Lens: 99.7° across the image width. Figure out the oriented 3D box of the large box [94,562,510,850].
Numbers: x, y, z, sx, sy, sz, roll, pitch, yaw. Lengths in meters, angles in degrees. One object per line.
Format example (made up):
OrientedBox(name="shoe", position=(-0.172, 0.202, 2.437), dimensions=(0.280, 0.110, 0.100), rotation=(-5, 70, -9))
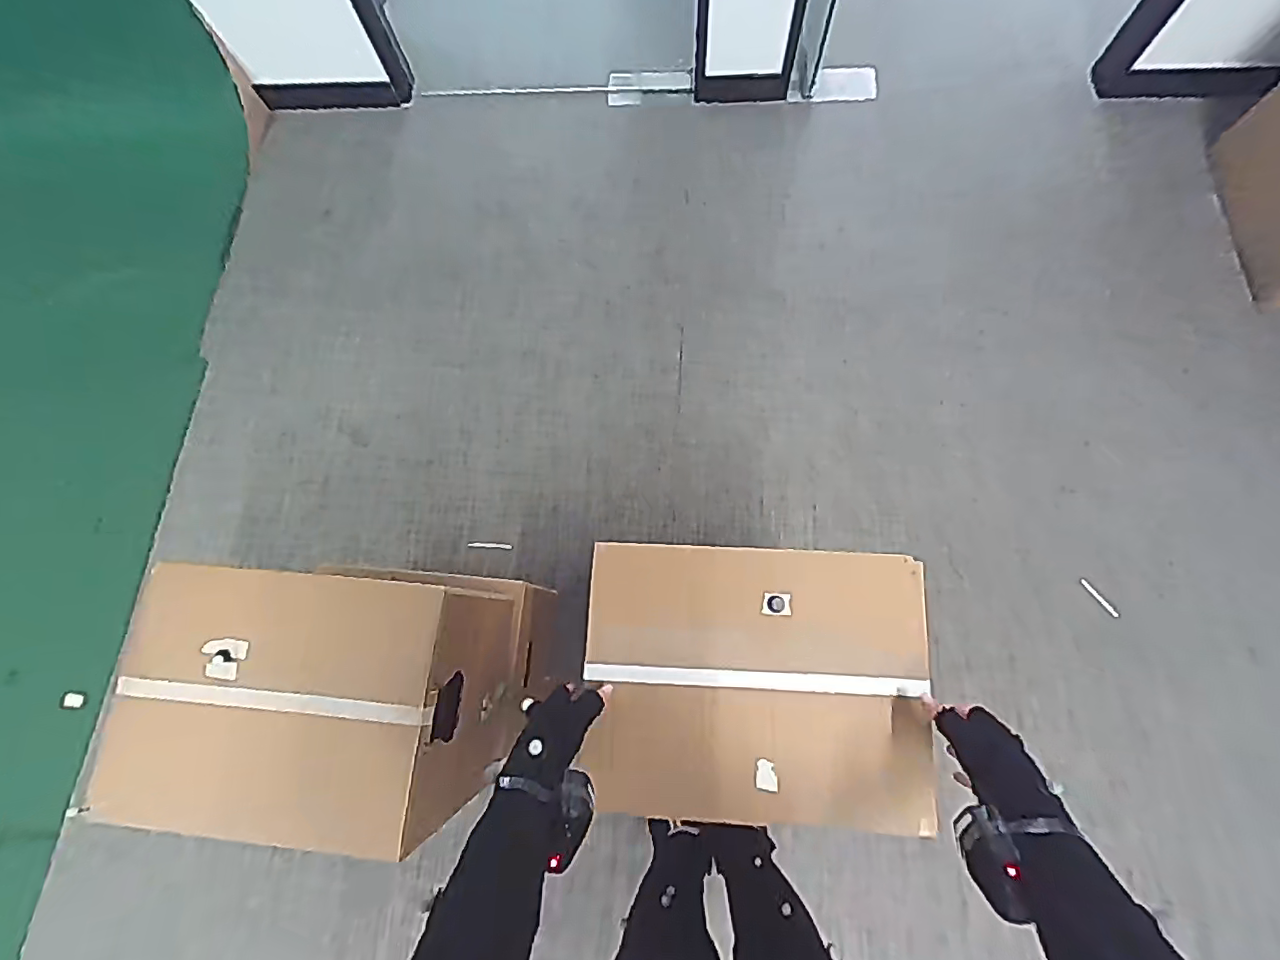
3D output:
OrientedBox(name="large box", position=(-0.448, 0.302, 0.819), dimensions=(0.408, 0.320, 0.320), rotation=(4, 77, 6))
